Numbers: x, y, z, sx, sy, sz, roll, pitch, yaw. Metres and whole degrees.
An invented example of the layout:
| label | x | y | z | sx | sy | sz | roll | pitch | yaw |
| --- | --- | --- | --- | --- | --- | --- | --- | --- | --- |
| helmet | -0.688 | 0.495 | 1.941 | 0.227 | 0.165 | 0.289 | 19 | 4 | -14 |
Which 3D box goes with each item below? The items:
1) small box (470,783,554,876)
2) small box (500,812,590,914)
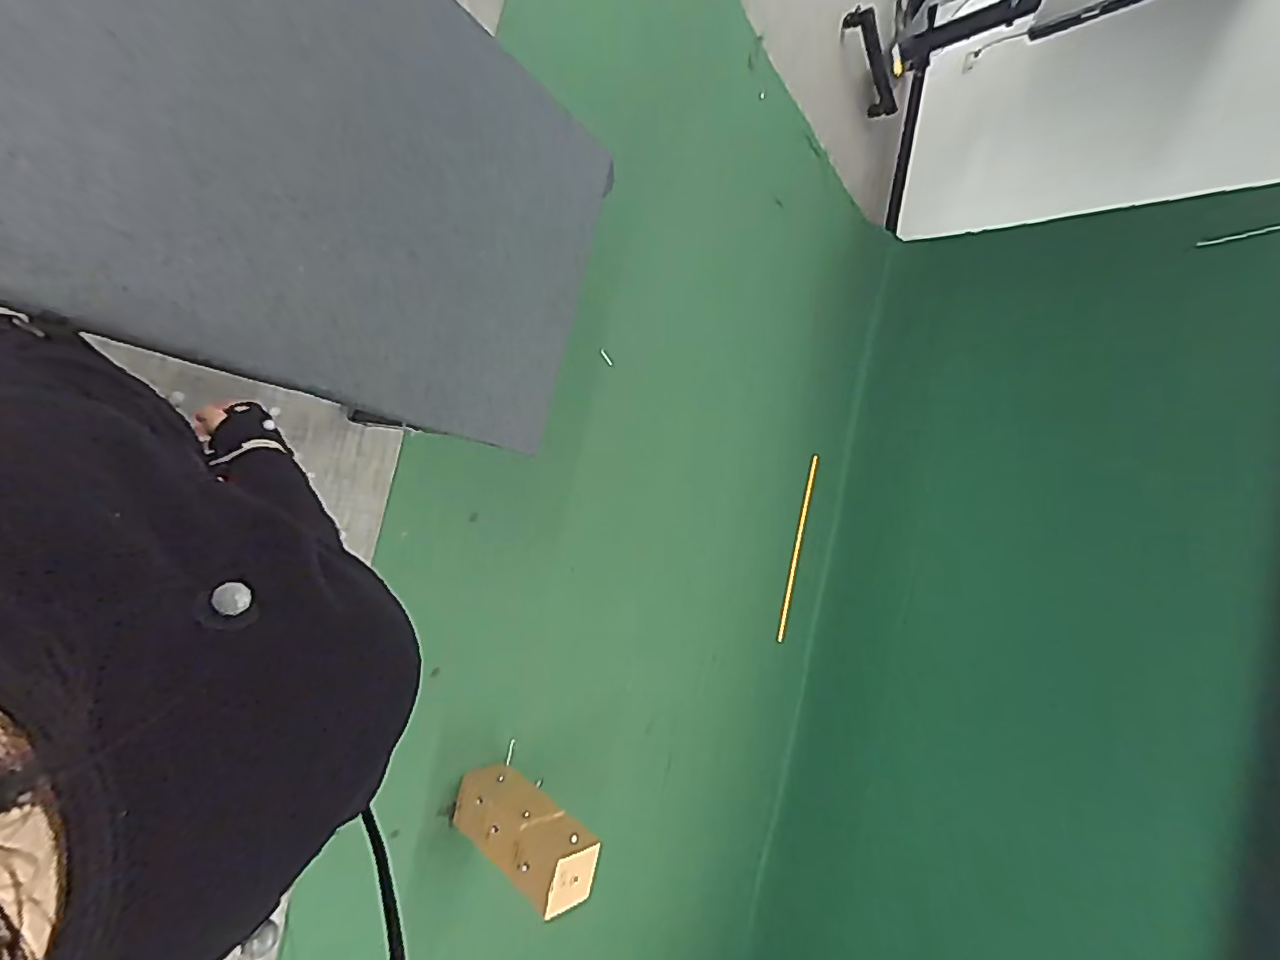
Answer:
| label | x | y | z | sx | sy | sz | roll | pitch | yaw |
| --- | --- | --- | --- | --- | --- | --- | --- | --- | --- |
| small box | -0.409 | 1.100 | 1.721 | 0.179 | 0.176 | 0.168 | 17 | 85 | -48 |
| small box | -0.285 | 1.130 | 1.615 | 0.179 | 0.176 | 0.168 | 19 | 84 | -48 |
